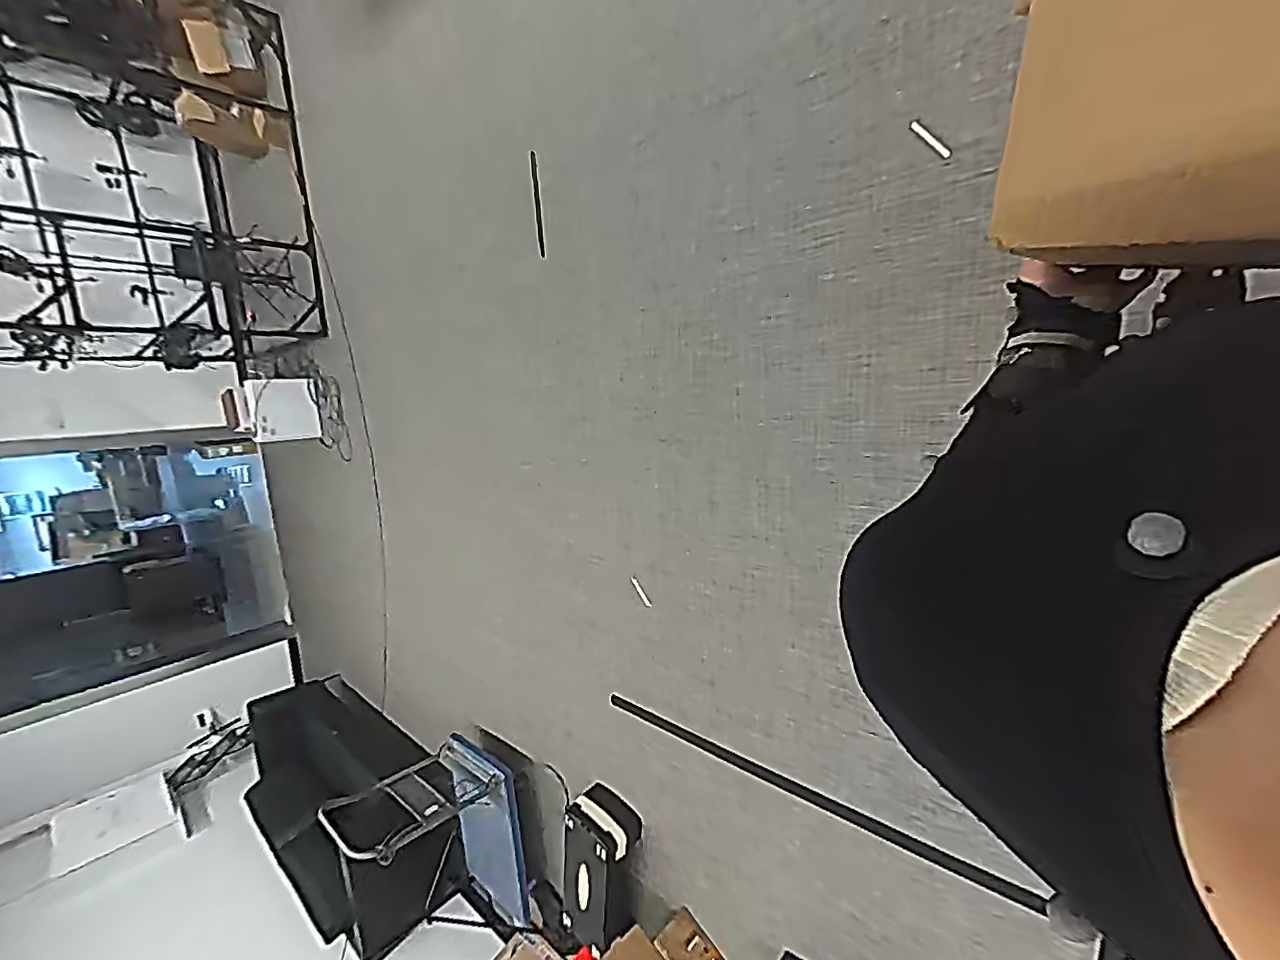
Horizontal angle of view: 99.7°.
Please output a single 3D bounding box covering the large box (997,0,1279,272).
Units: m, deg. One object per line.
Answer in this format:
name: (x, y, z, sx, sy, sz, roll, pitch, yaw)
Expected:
large box: (0.468, -0.279, 0.264, 0.408, 0.320, 0.320, 18, 117, 42)
